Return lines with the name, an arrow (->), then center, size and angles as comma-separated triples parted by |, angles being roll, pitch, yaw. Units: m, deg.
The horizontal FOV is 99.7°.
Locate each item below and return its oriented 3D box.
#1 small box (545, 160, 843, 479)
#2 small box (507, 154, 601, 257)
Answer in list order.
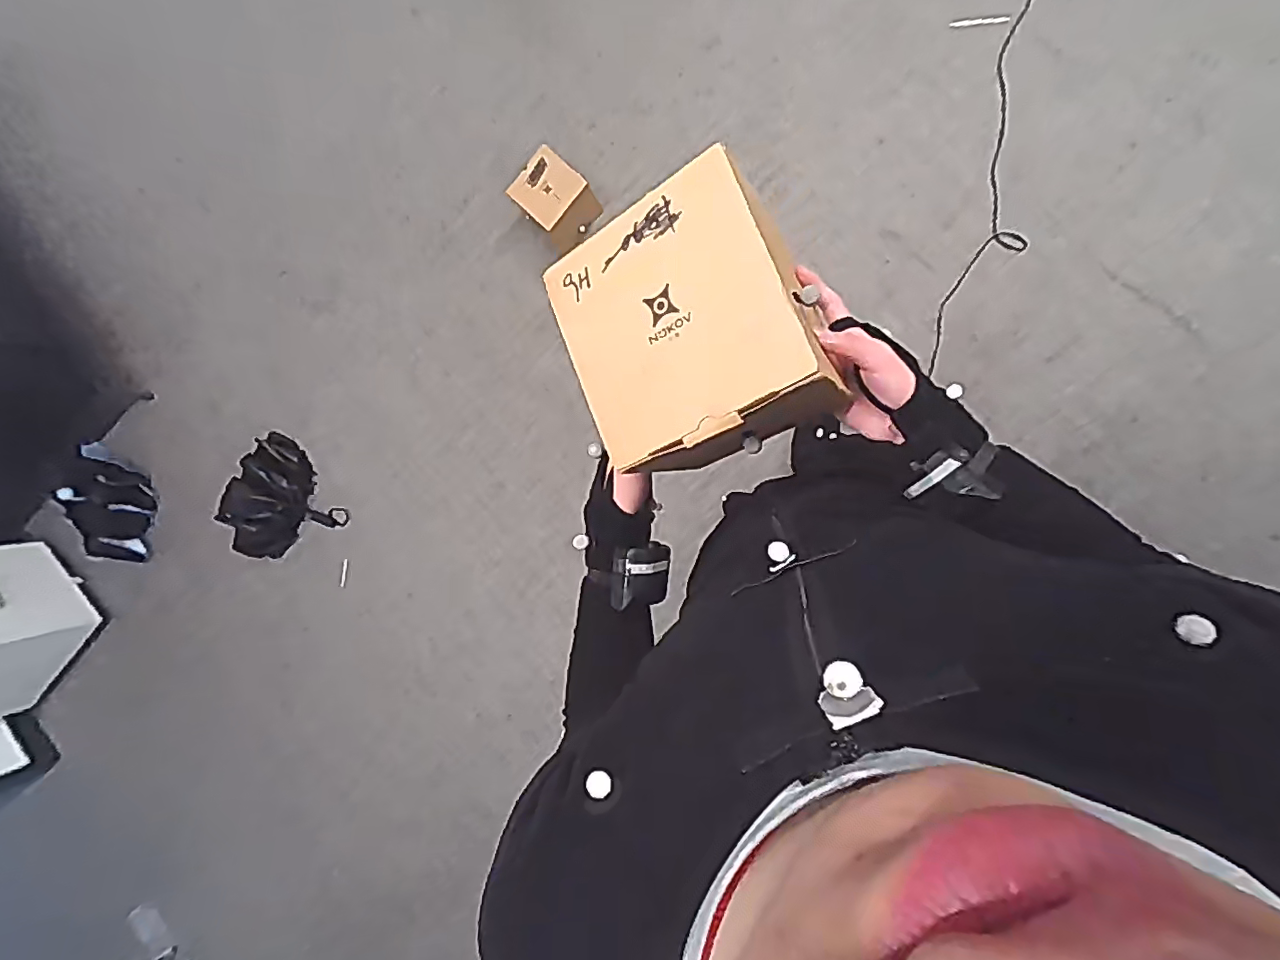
small box -> 0.056, -0.115, 0.461 | 0.168, 0.176, 0.179 | -26, 81, 26
small box -> -0.241, -0.776, 1.553 | 0.179, 0.176, 0.168 | 44, 100, 7
